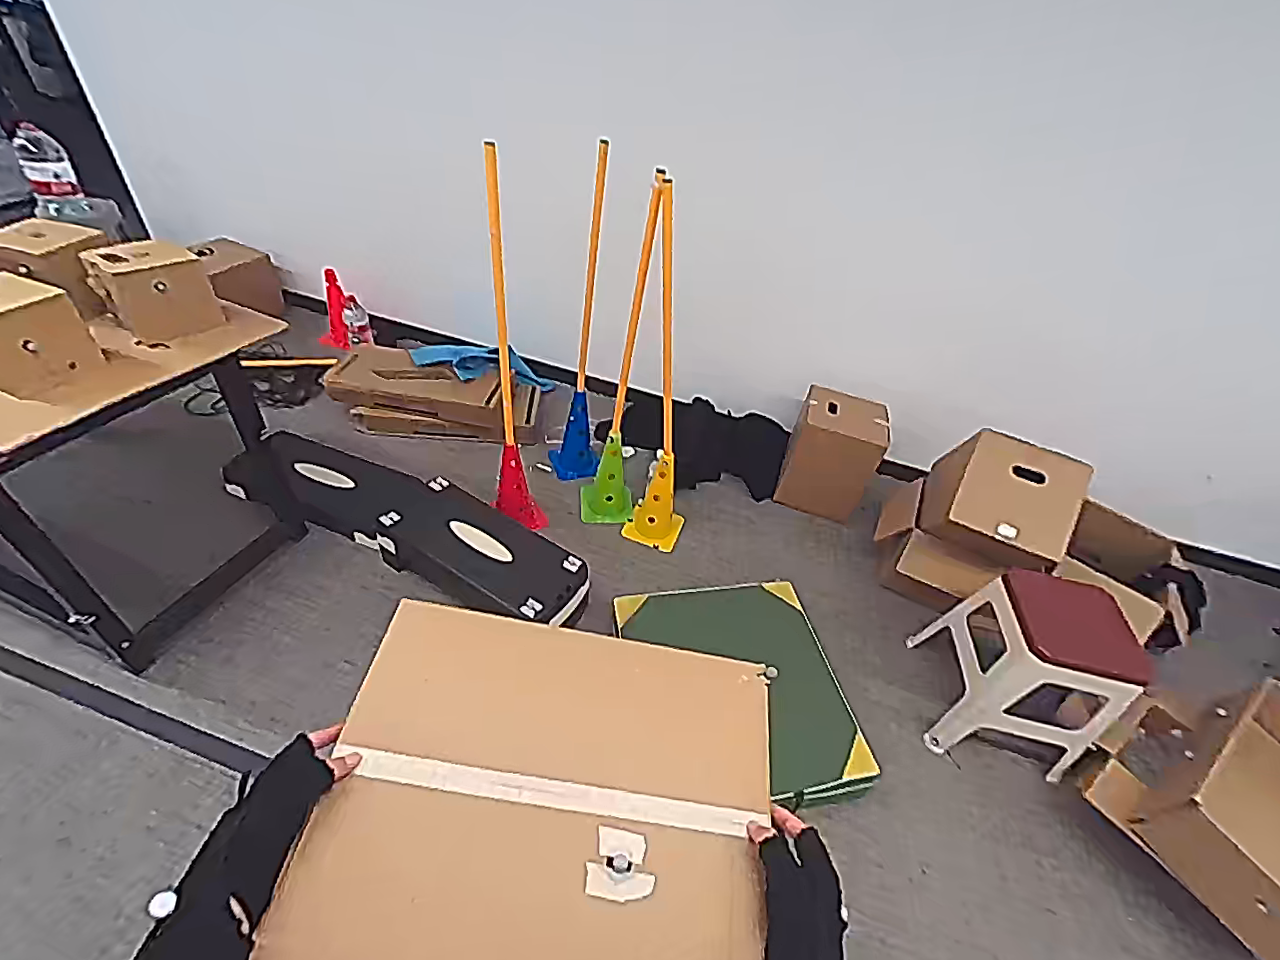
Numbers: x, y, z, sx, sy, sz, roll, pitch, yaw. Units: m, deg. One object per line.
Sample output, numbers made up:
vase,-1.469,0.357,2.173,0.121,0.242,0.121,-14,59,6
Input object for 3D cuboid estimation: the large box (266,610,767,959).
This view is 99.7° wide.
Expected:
large box,-0.101,0.386,0.623,0.408,0.320,0.320,12,51,-3
